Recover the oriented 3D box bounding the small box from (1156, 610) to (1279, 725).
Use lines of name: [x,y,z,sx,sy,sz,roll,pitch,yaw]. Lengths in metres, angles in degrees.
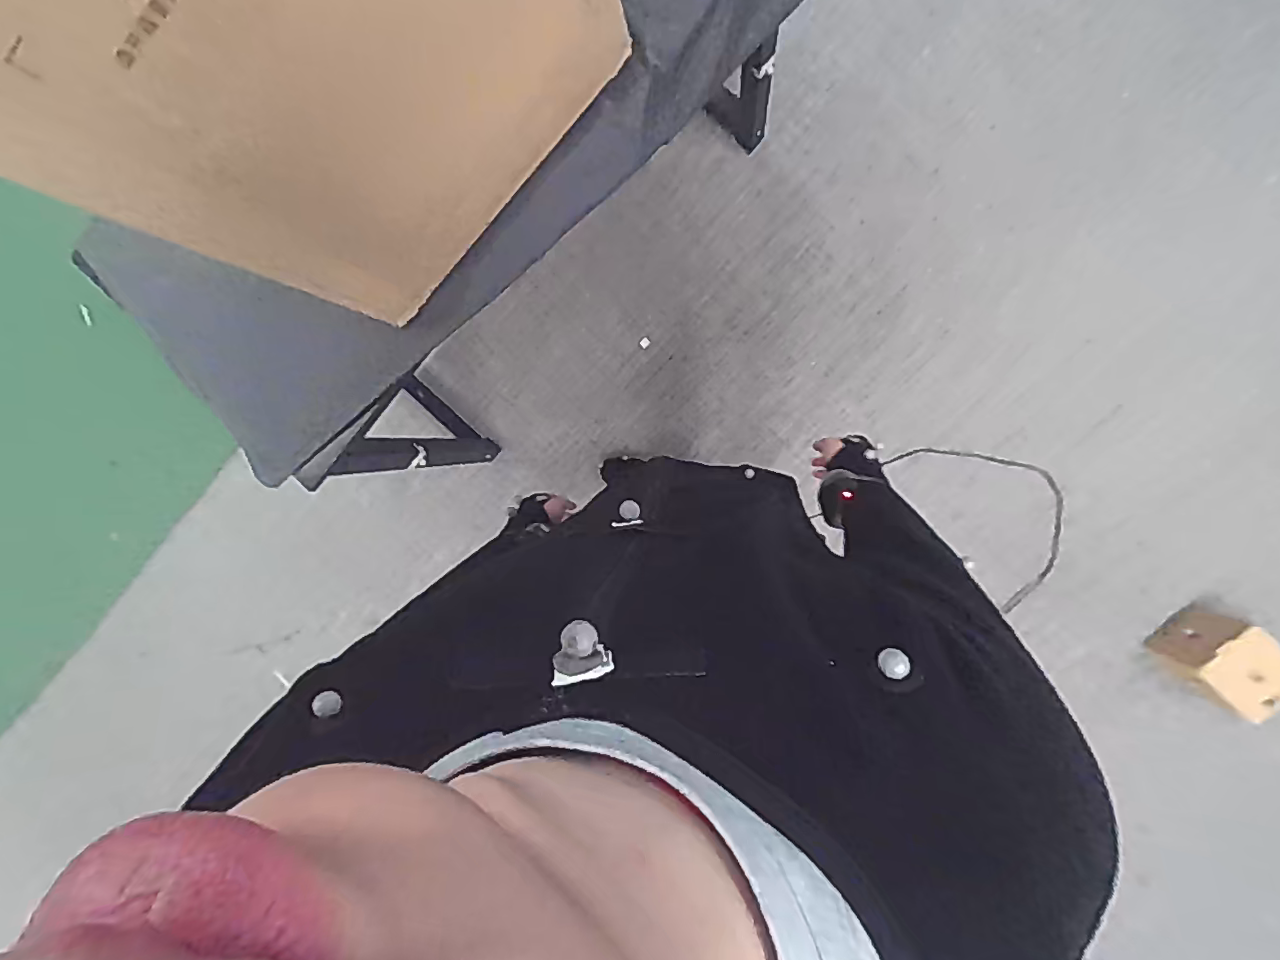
small box: [1.408,0.431,1.284,0.179,0.176,0.168,44,98,5]
